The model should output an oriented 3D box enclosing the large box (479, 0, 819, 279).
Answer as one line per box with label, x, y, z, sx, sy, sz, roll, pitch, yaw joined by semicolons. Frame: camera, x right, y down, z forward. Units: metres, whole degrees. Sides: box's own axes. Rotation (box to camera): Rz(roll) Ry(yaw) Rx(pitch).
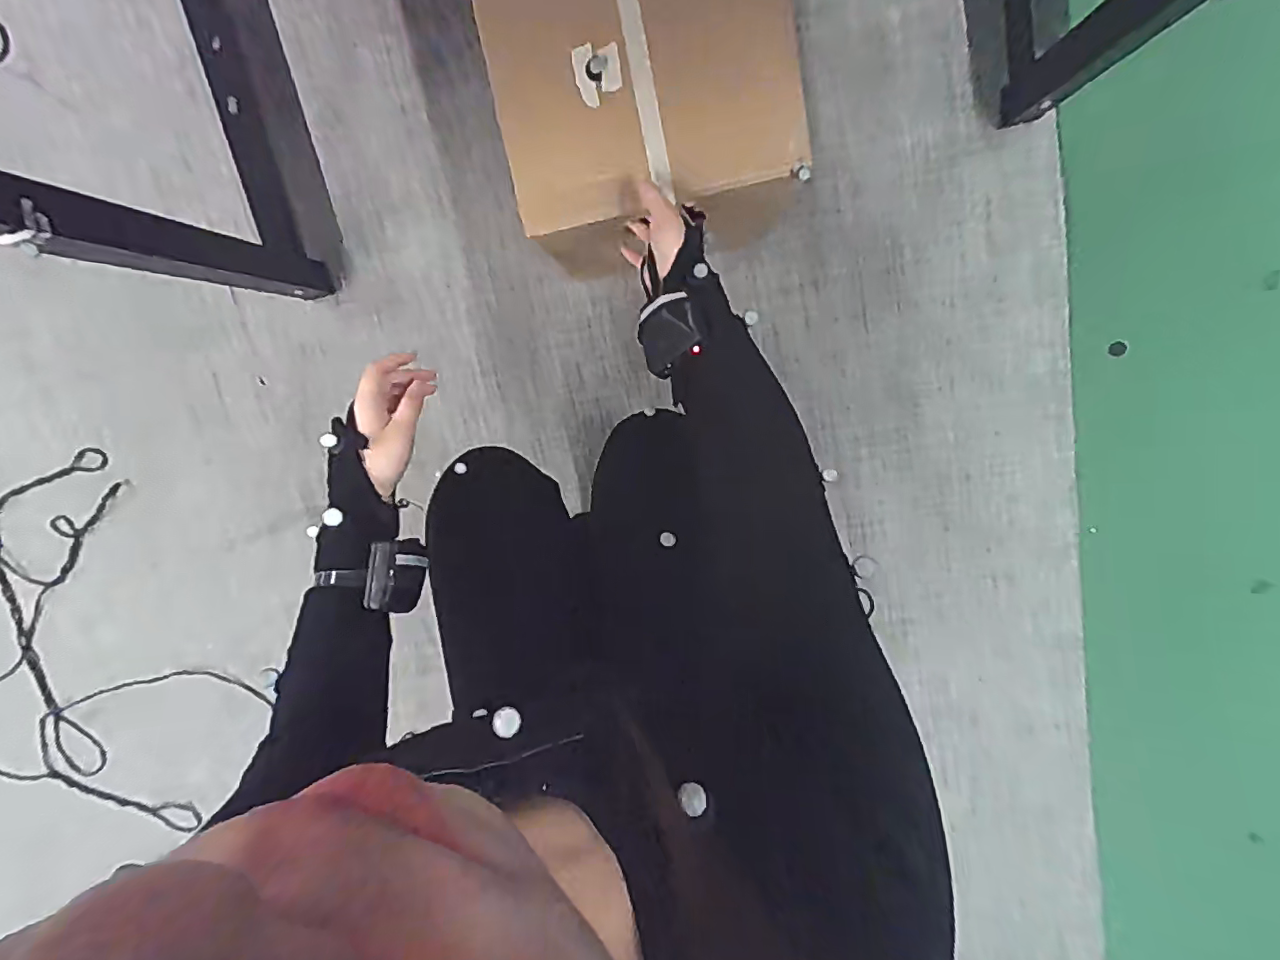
large box;0.004;-0.513;0.685;0.320;0.320;0.408;-11;101;7
